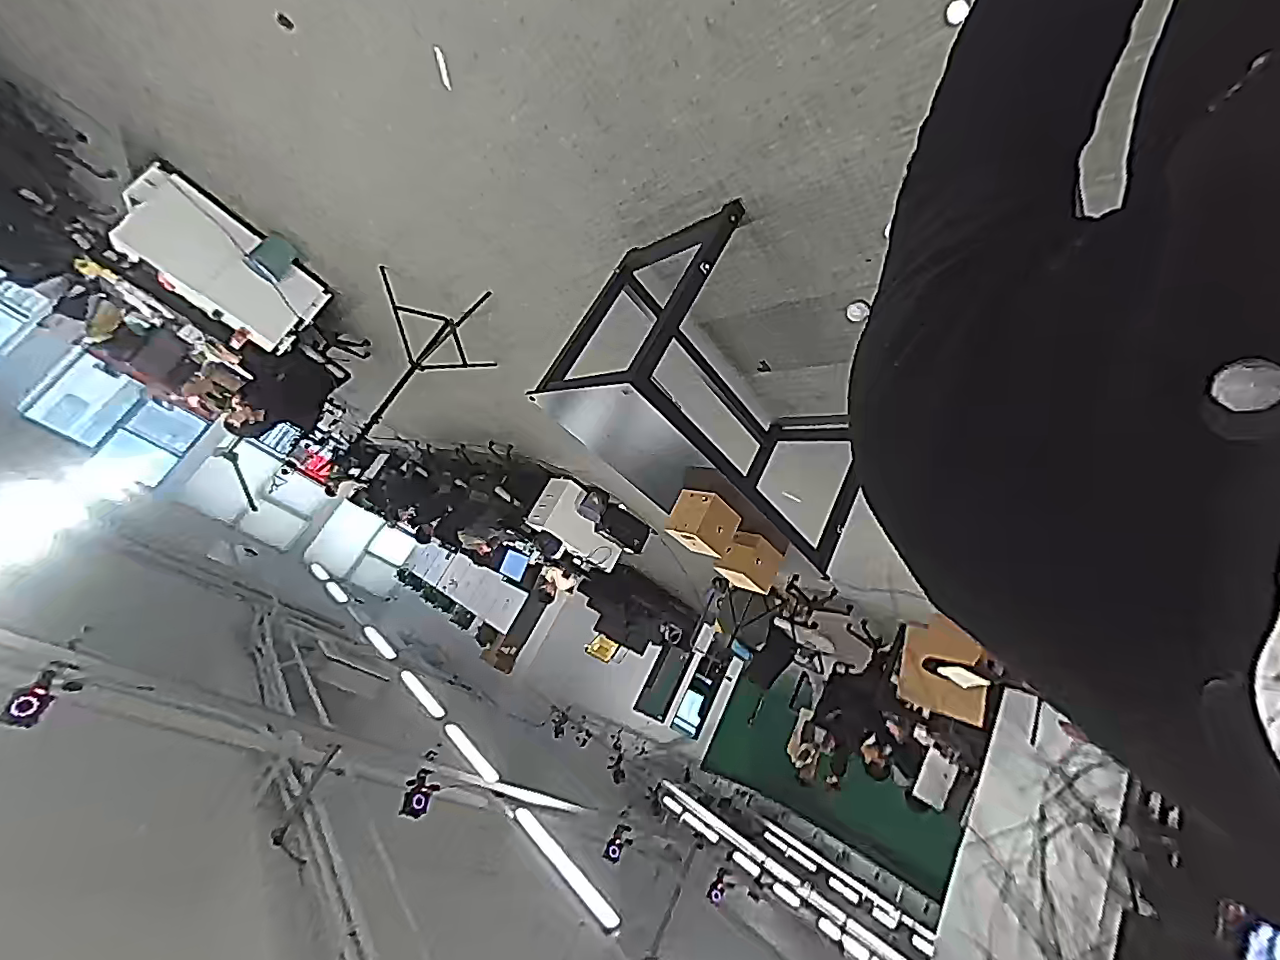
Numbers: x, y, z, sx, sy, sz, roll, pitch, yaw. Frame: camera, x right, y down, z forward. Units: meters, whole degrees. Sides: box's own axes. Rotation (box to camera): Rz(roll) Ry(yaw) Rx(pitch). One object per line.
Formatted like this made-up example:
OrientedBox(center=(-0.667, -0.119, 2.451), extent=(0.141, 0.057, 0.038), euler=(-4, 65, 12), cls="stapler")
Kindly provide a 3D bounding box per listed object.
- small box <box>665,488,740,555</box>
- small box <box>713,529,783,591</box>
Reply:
OrientedBox(center=(0.226, 0.144, 1.932), extent=(0.179, 0.176, 0.168), euler=(40, 160, -35), cls="small box")
OrientedBox(center=(0.419, 0.303, 2.088), extent=(0.179, 0.176, 0.168), euler=(39, 161, -31), cls="small box")
